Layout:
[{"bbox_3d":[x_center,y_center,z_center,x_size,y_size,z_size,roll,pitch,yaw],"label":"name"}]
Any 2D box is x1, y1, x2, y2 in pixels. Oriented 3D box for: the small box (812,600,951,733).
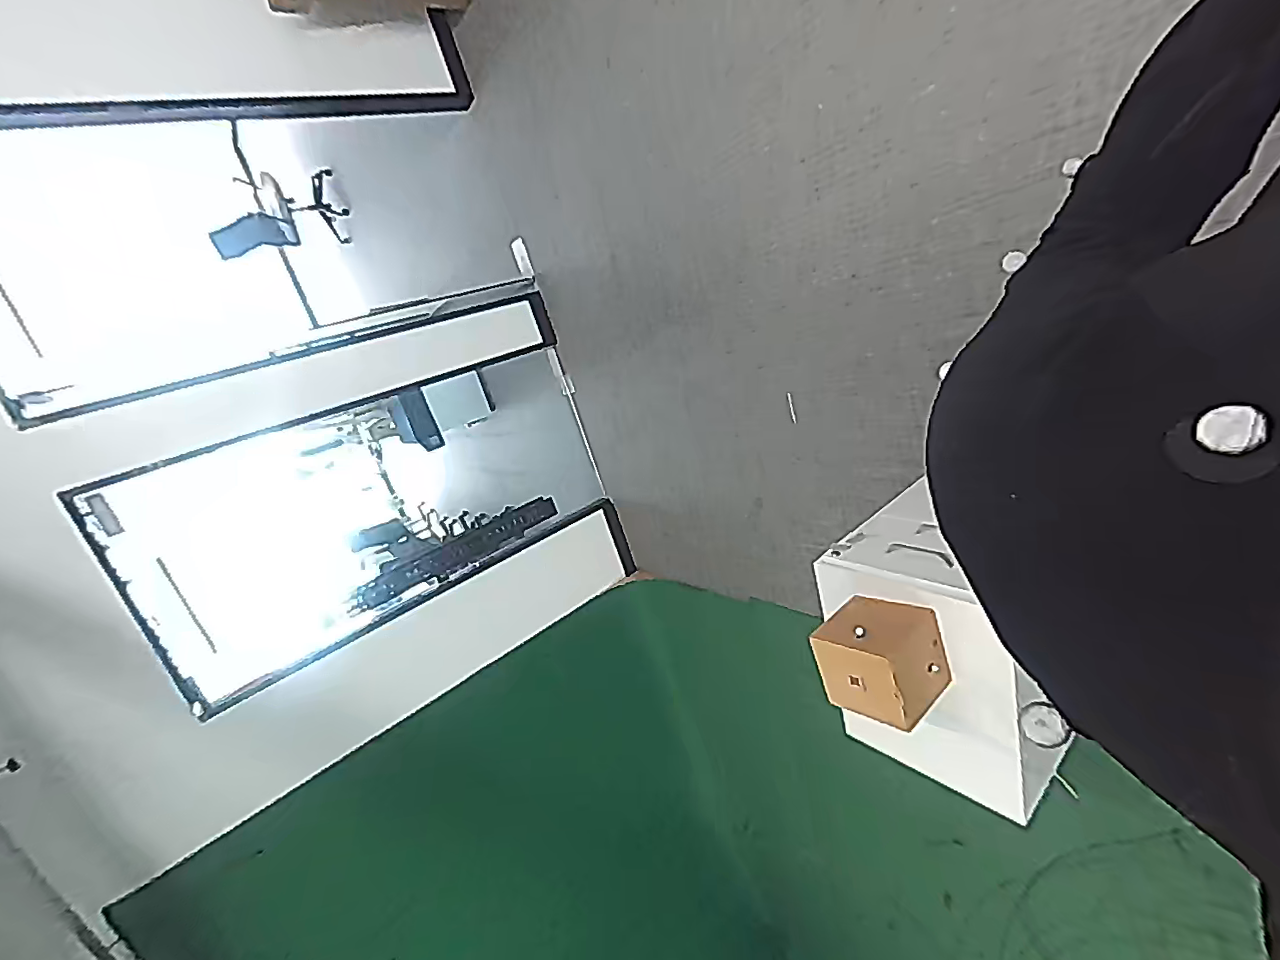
[{"bbox_3d":[0.481,0.358,1.077,0.179,0.176,0.168,-3,111,56],"label":"small box"}]
